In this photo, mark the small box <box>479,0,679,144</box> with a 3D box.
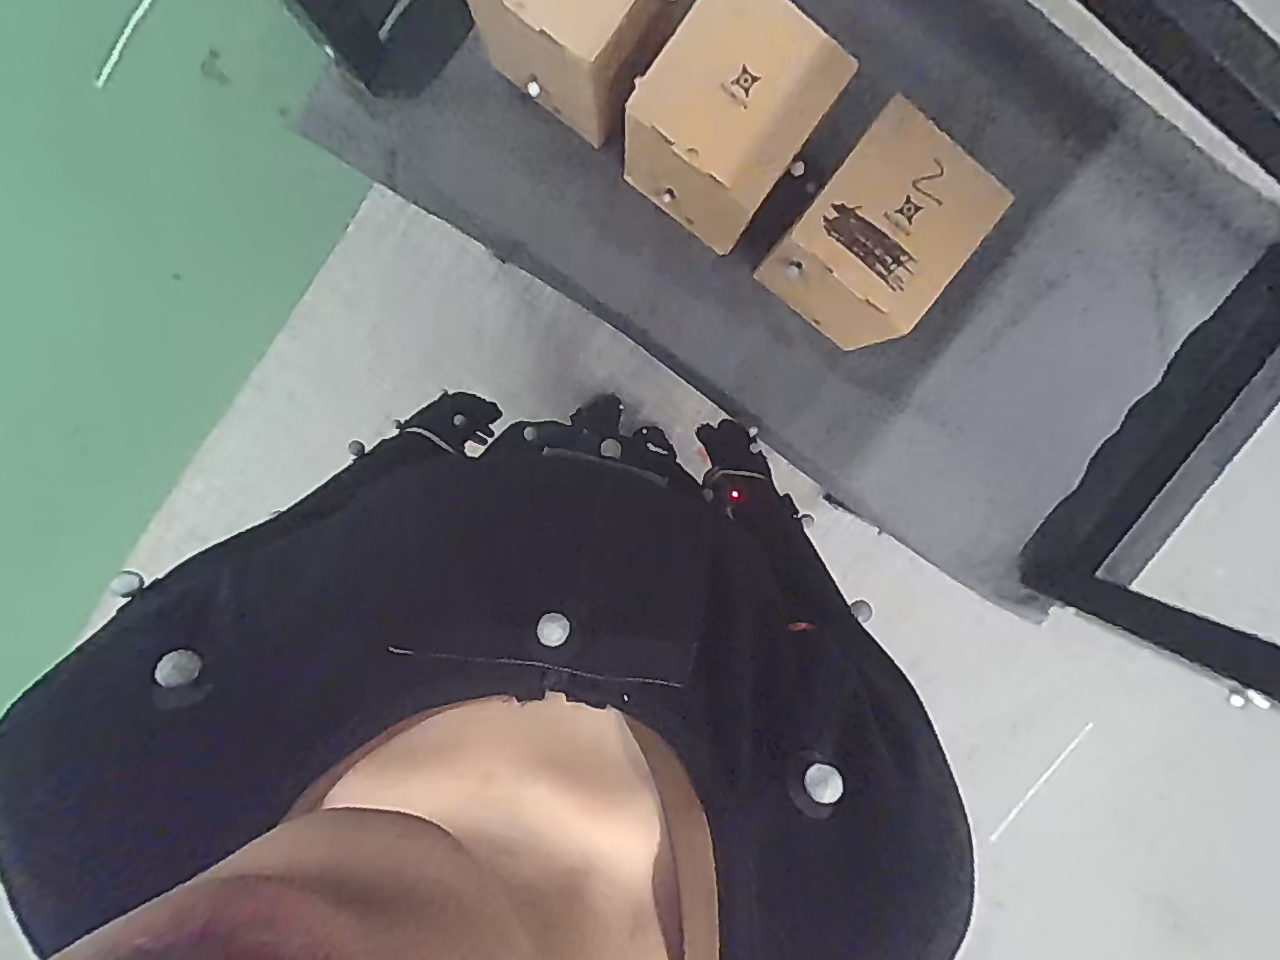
[{"bbox_3d":[-0.065,-0.527,0.594,0.168,0.176,0.179,36,95,-6],"label":"small box"}]

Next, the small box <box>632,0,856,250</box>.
[{"bbox_3d":[0.100,-0.403,0.619,0.168,0.176,0.179,36,96,-7],"label":"small box"}]
